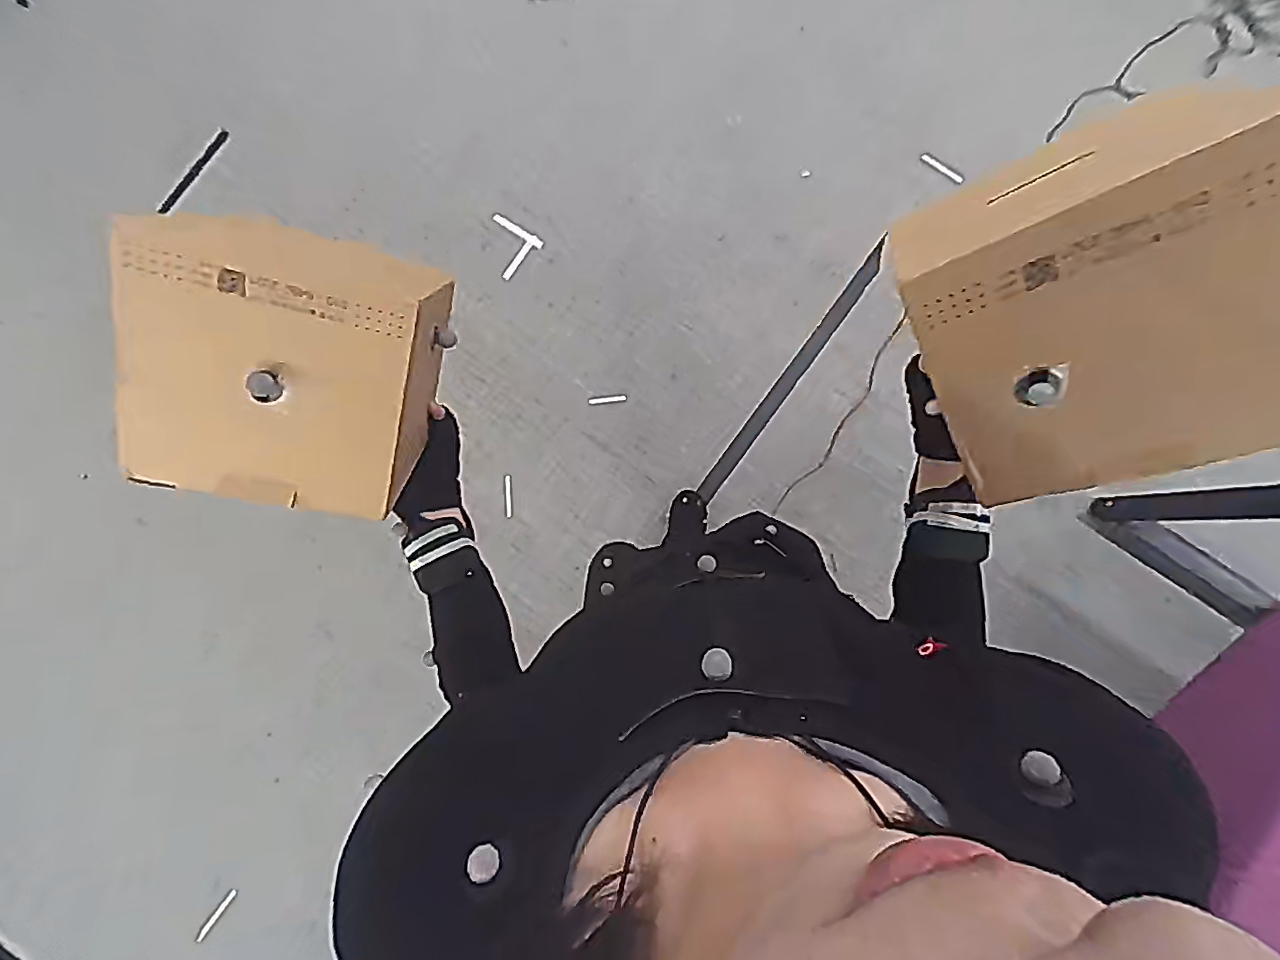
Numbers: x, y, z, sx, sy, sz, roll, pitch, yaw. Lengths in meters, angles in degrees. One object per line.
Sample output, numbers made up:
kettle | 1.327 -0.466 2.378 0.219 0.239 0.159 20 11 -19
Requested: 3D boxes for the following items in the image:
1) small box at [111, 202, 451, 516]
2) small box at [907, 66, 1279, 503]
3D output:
small box | -0.249 -0.096 0.410 0.168 0.179 0.176 12 111 -16
small box | 0.279 -0.118 0.333 0.168 0.179 0.176 -18 116 31
